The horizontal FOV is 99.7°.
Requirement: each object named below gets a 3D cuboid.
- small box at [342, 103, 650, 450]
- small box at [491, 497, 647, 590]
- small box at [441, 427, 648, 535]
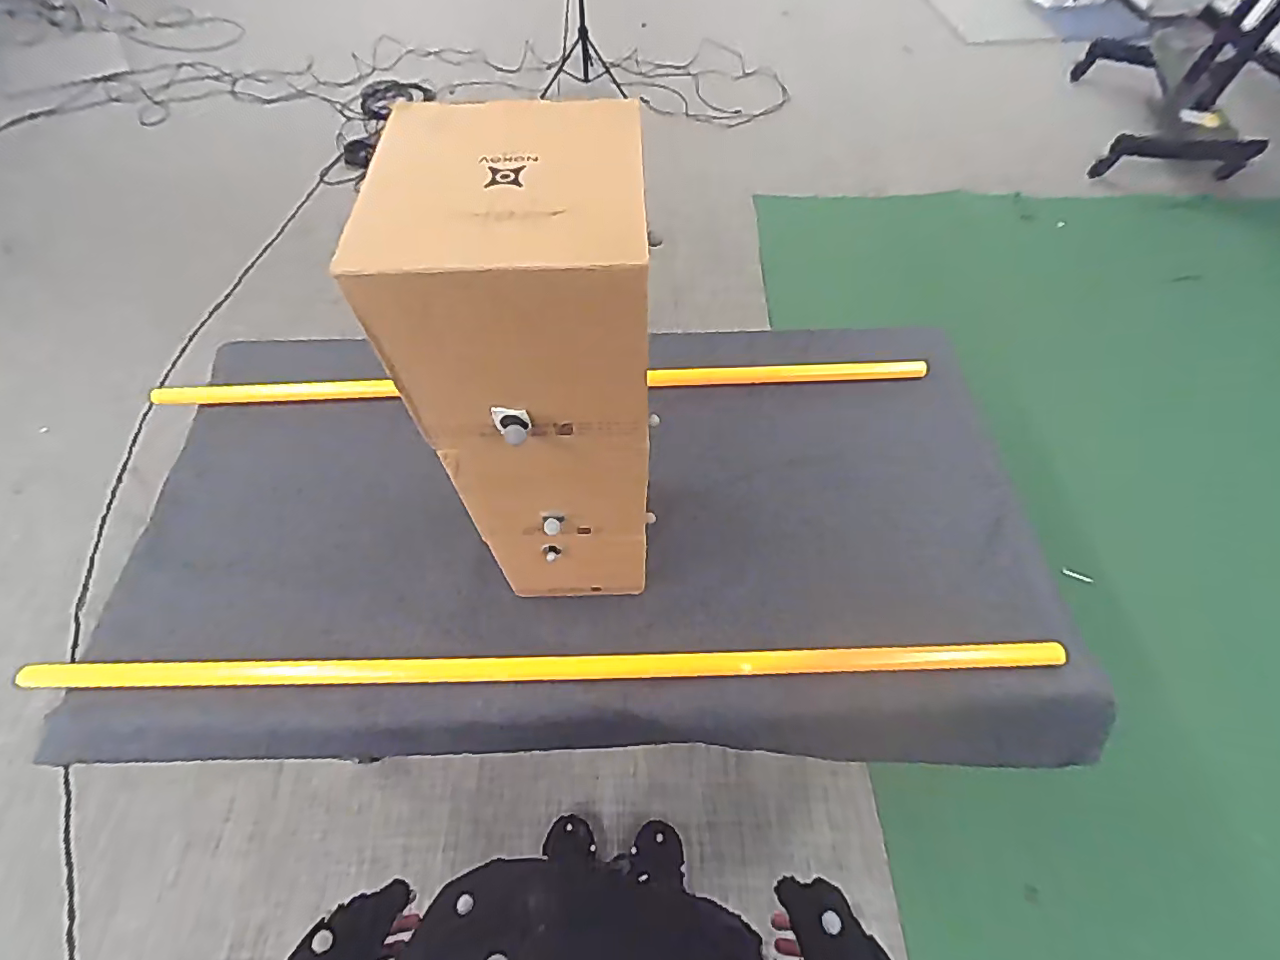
[{"bbox_3d":[-0.079,-0.141,0.397,0.168,0.176,0.179,-3,60,0],"label":"small box"},{"bbox_3d":[-0.077,0.025,0.677,0.168,0.176,0.179,-2,58,0],"label":"small box"},{"bbox_3d":[-0.079,-0.059,0.536,0.168,0.176,0.179,-2,59,-1],"label":"small box"}]
